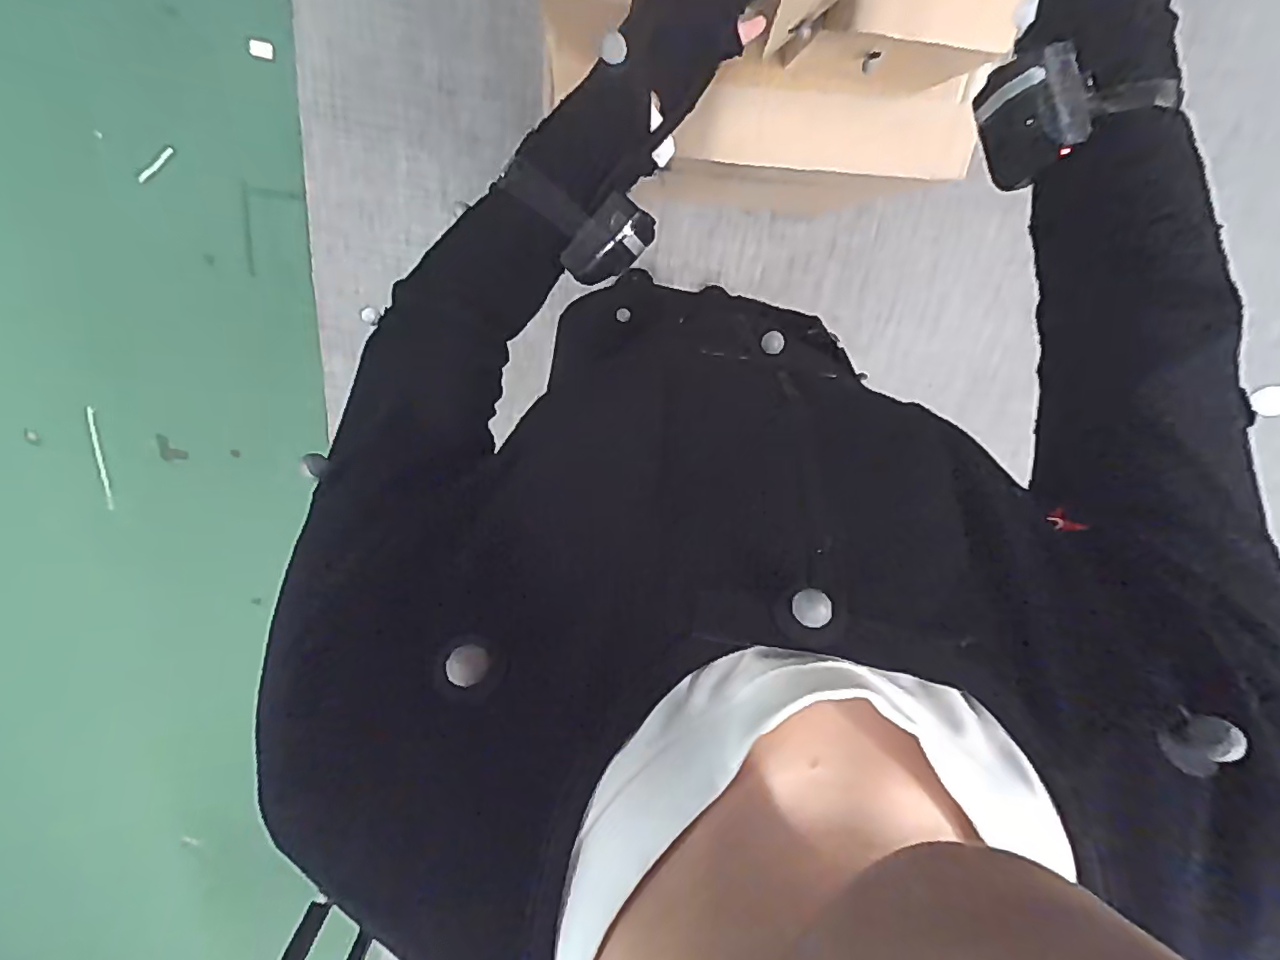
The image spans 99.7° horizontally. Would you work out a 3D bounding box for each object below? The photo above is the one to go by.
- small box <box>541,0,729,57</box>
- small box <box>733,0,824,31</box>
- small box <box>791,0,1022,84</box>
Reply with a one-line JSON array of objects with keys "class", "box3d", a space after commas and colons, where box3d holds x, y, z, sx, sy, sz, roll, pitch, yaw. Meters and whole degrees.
[{"class": "small box", "box3d": [0.002, -0.538, 0.526, 0.179, 0.176, 0.168, 5, 115, 1]}, {"class": "small box", "box3d": [0.120, -0.453, 0.360, 0.168, 0.176, 0.179, -32, 105, 15]}, {"class": "small box", "box3d": [0.262, -0.512, 0.530, 0.179, 0.176, 0.168, 7, 117, -1]}]
